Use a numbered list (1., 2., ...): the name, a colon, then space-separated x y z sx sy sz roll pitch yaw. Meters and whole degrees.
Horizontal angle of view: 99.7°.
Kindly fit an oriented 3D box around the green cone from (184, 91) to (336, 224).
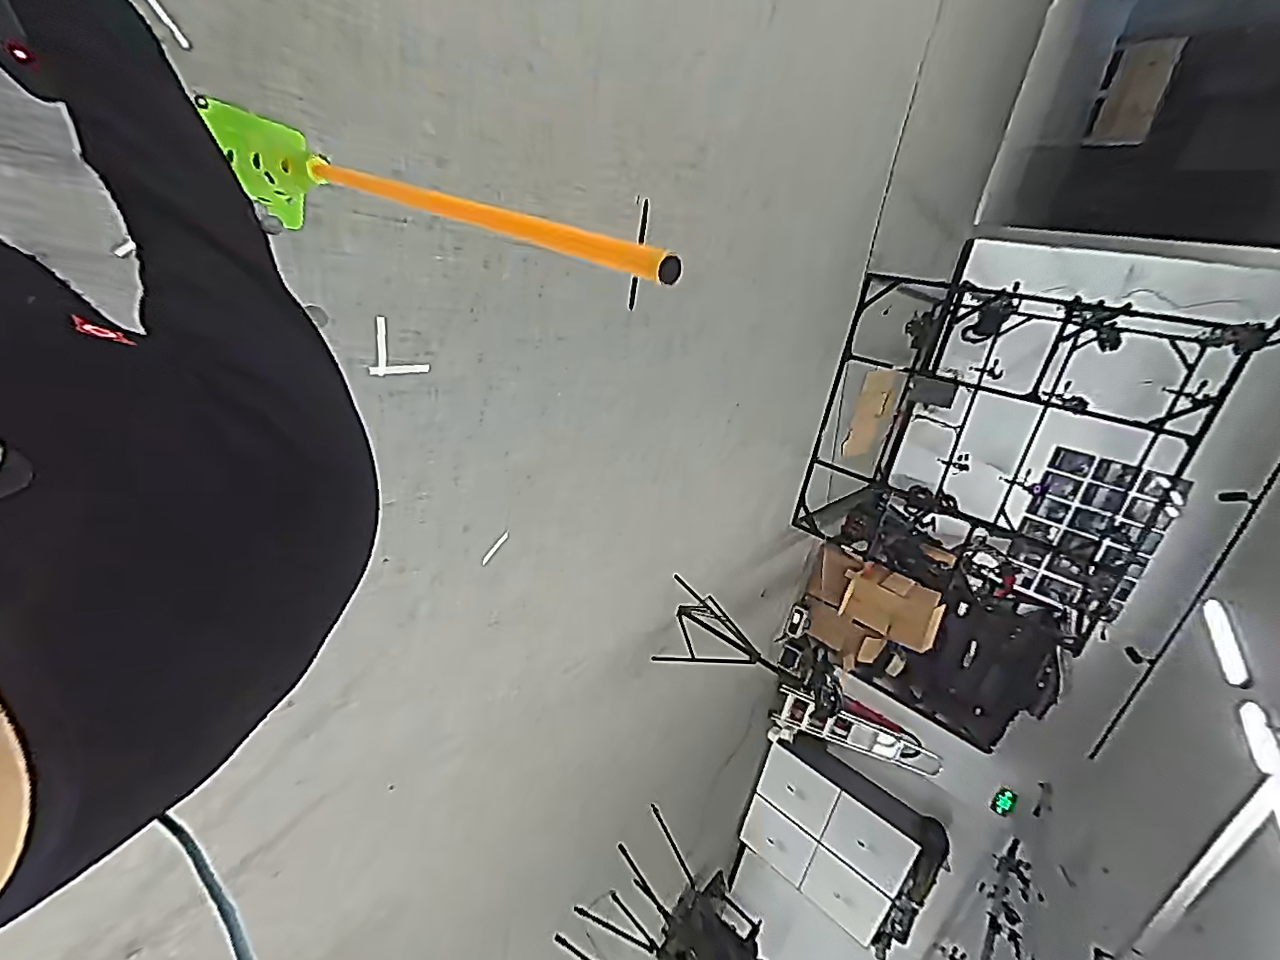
1. green cone: -0.686 -0.597 1.027 0.202 0.368 0.200 -10 119 -52
